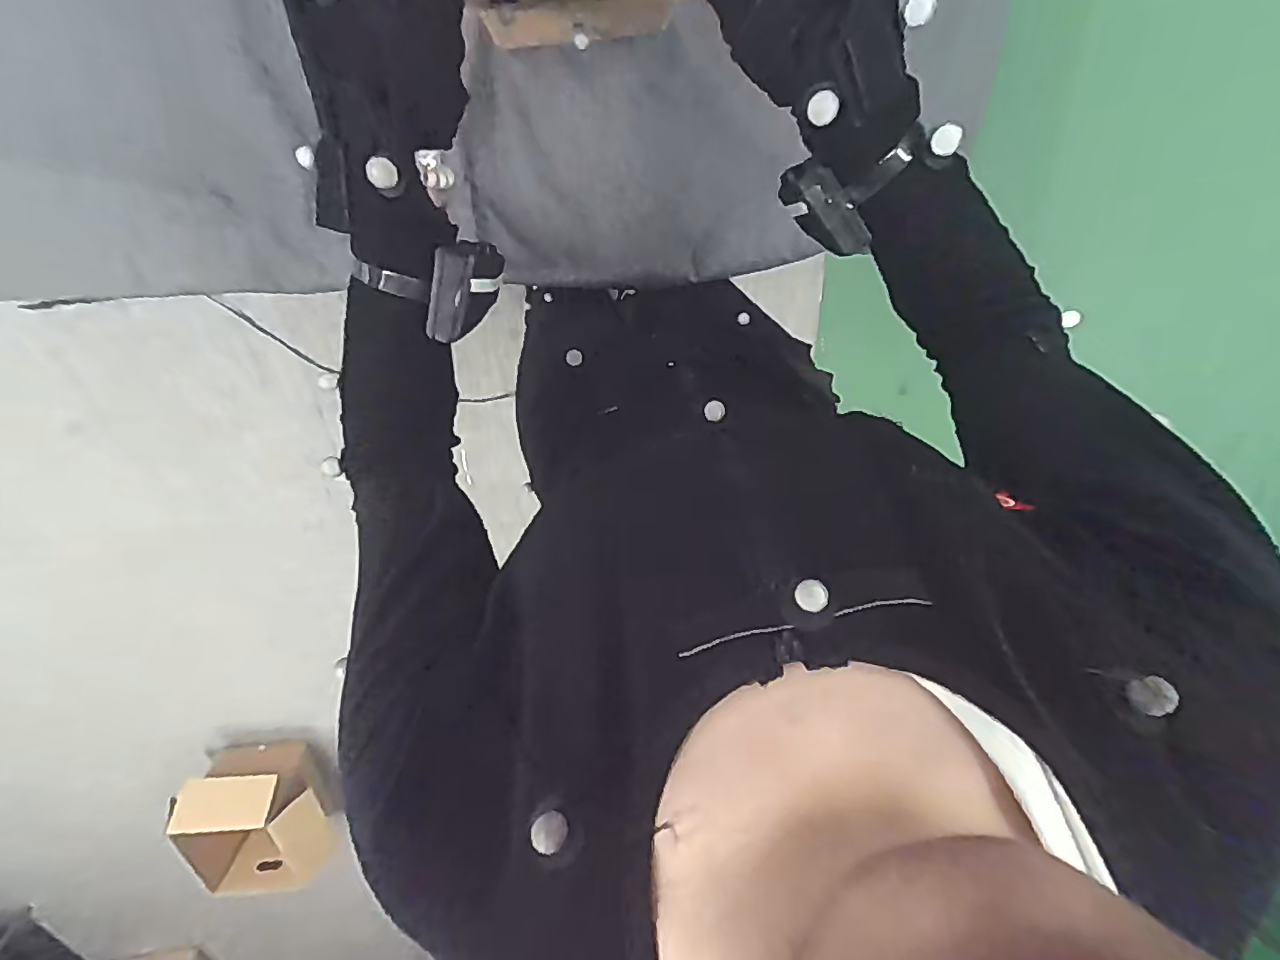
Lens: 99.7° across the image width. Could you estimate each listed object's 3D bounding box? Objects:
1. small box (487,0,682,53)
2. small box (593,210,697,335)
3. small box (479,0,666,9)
[{"bbox_3d":[-0.056,-0.474,0.430,0.168,0.176,0.179,-7,118,-1],"label":"small box"},{"bbox_3d":[0.008,-0.479,1.270,0.168,0.176,0.179,43,84,6],"label":"small box"},{"bbox_3d":[-0.045,-0.385,0.289,0.168,0.176,0.179,-6,117,-2],"label":"small box"}]
